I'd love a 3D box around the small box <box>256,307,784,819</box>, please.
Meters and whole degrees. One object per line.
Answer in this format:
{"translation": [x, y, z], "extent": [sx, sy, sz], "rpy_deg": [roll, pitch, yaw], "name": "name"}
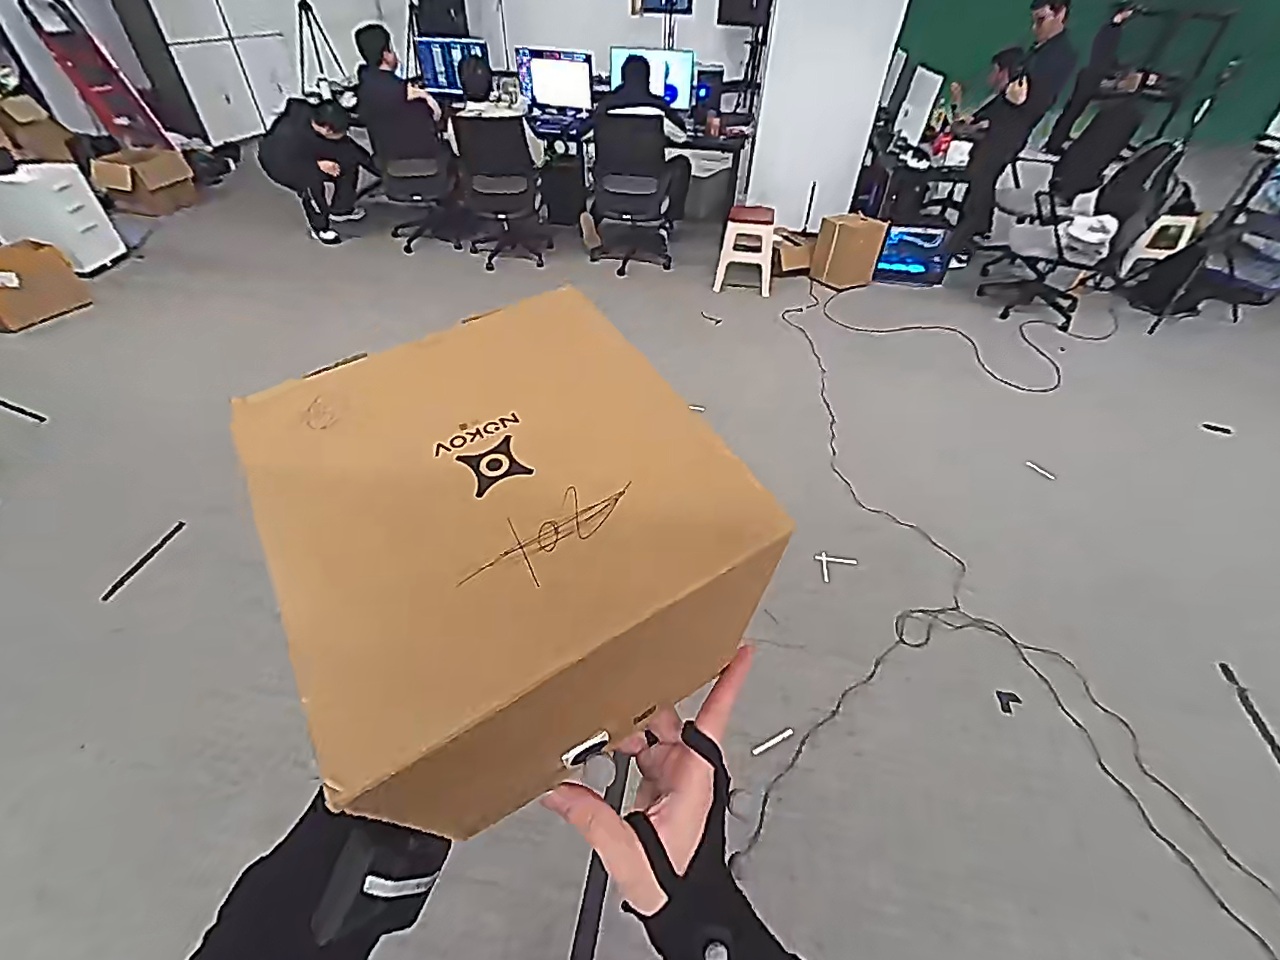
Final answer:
{"translation": [-0.058, 0.046, 0.288], "extent": [0.168, 0.176, 0.179], "rpy_deg": [-28, 59, -19], "name": "small box"}
